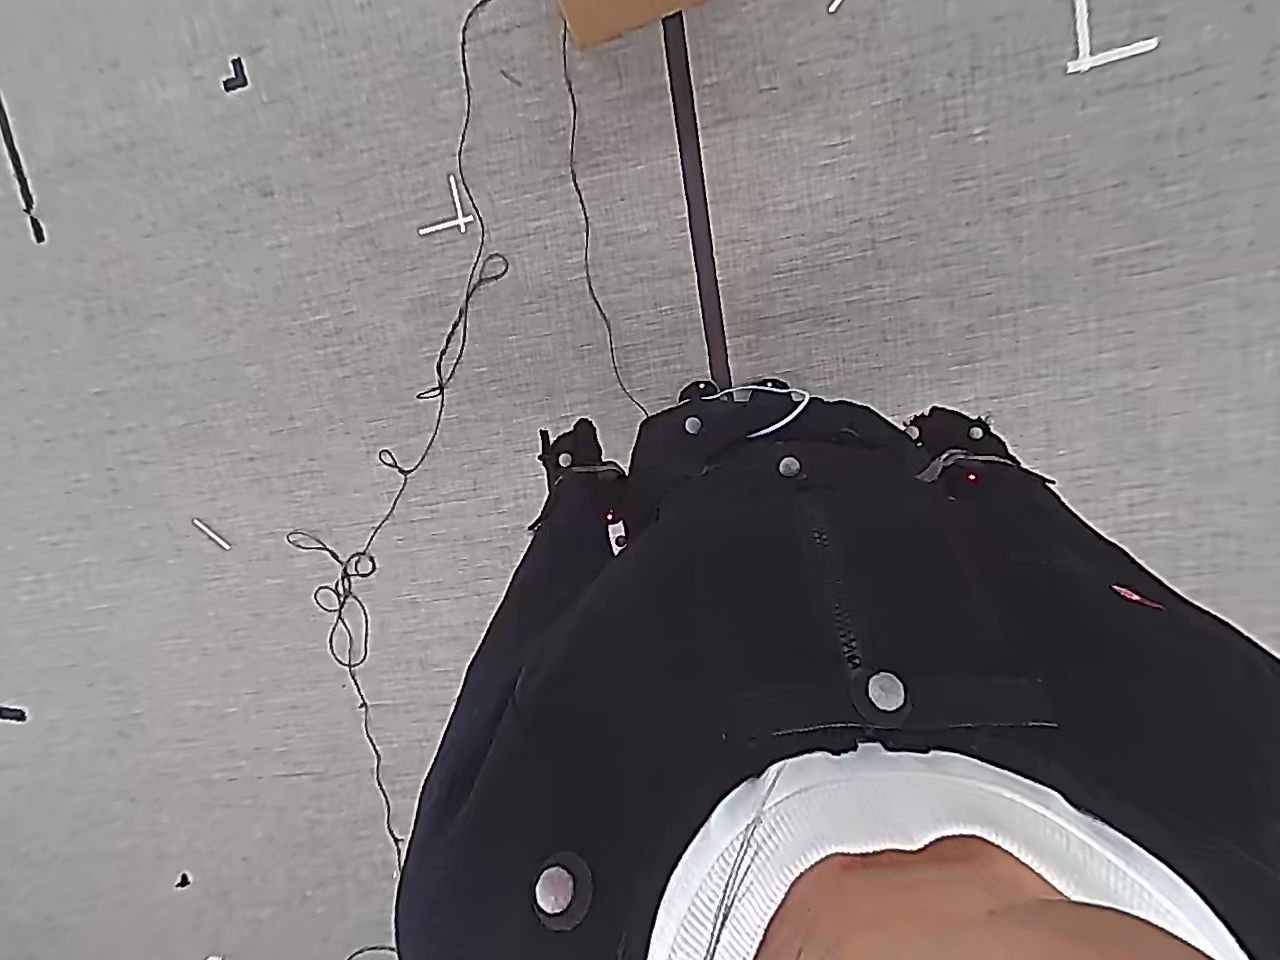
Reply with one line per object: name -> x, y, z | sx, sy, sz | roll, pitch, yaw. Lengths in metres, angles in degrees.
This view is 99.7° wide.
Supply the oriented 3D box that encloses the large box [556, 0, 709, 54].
large box -> -0.024, -1.183, 1.099 | 0.408, 0.320, 0.320 | -15, 100, 8
